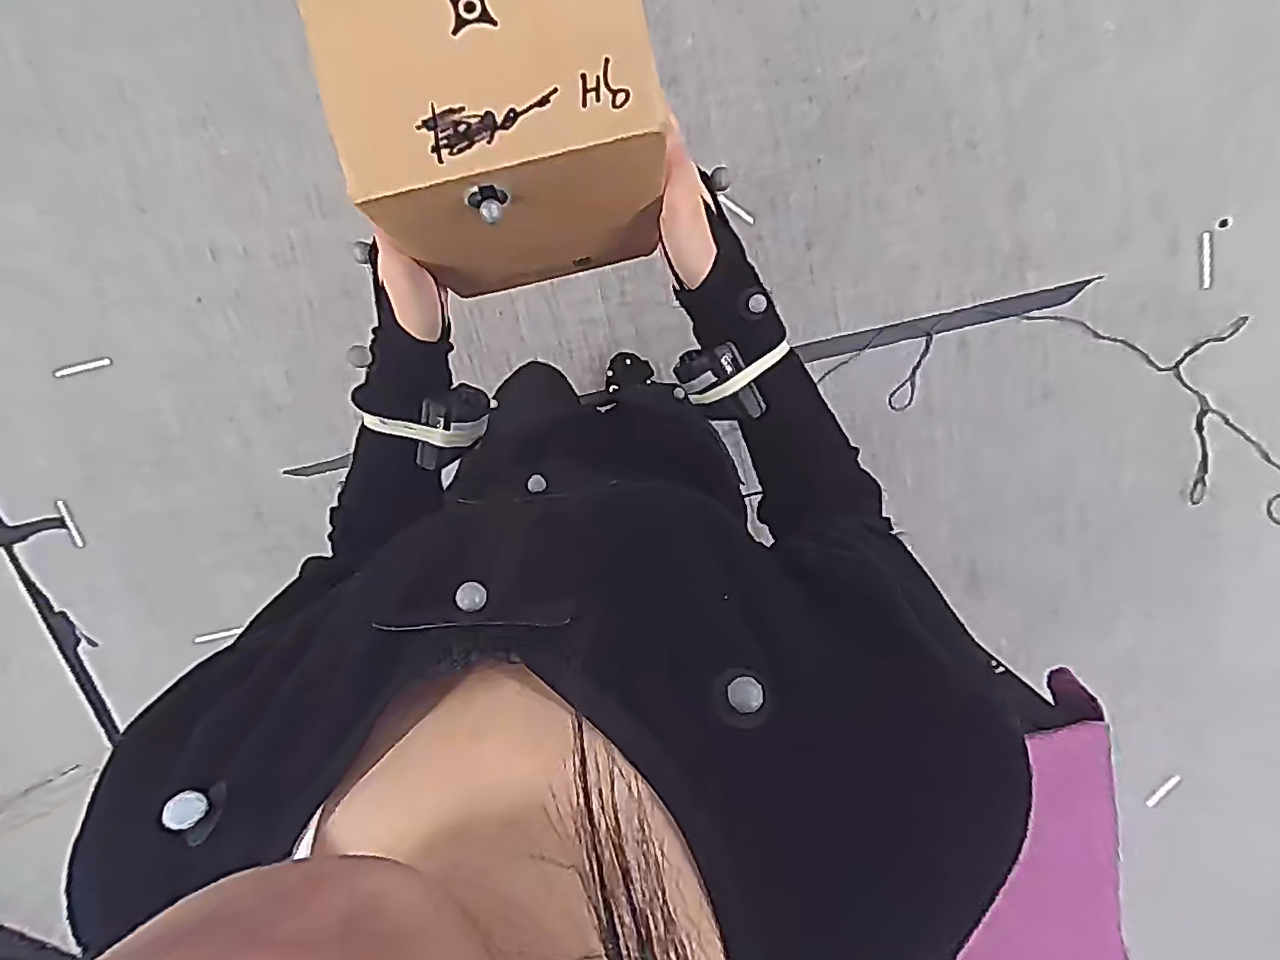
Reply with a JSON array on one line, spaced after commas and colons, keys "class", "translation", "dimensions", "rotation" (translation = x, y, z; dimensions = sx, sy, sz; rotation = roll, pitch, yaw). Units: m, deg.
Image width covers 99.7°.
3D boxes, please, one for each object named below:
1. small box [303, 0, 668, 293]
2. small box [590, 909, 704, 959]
[{"class": "small box", "translation": [-0.083, -0.246, 0.346], "dimensions": [0.168, 0.176, 0.179], "rotation": [-13, 92, 1]}, {"class": "small box", "translation": [0.018, 0.829, 0.847], "dimensions": [0.179, 0.176, 0.168], "rotation": [-15, 103, 2]}]
